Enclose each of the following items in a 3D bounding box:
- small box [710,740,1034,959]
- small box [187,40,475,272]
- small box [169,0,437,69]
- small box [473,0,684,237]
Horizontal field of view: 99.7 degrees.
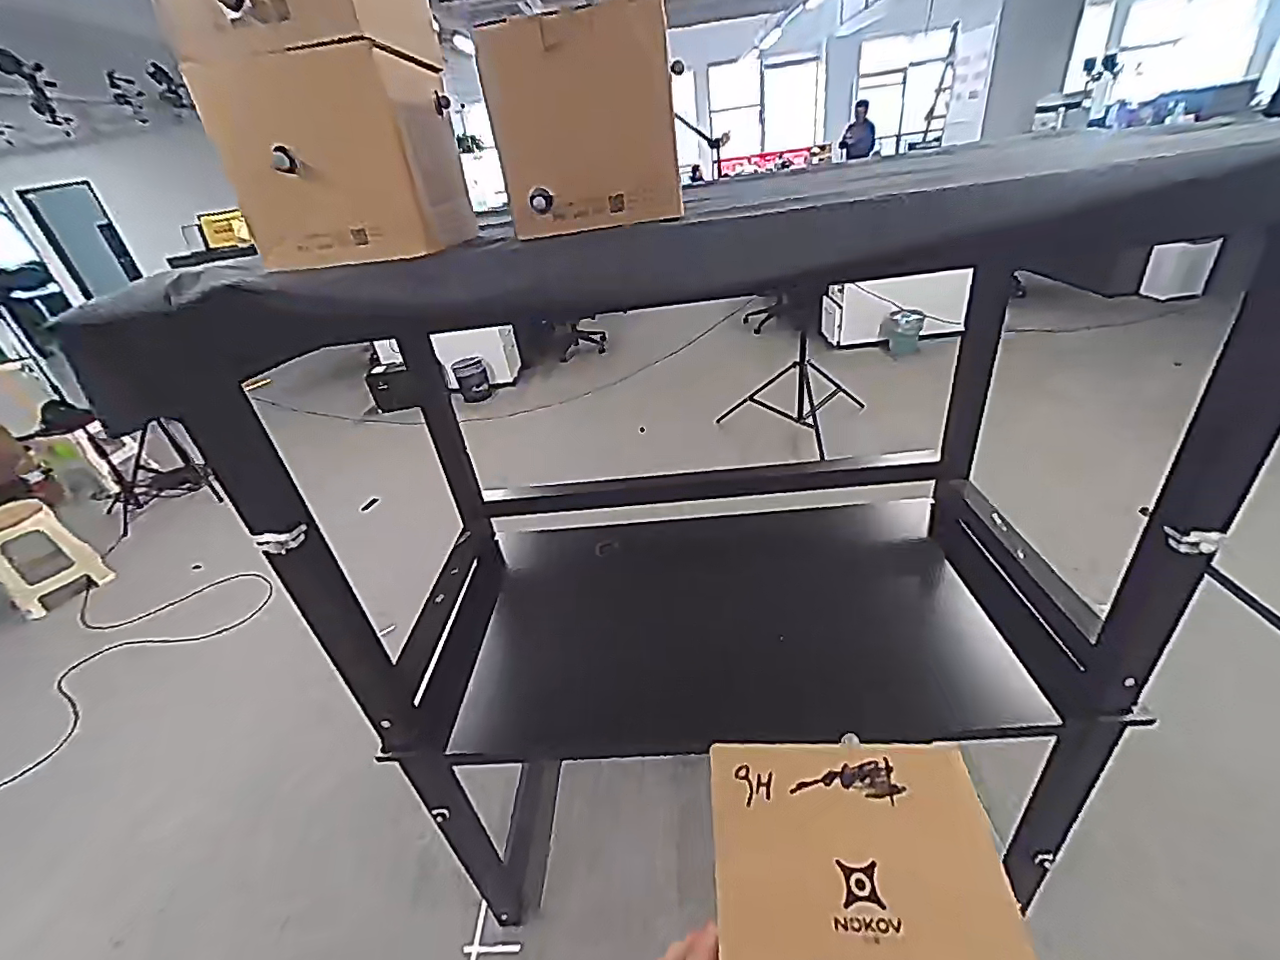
[{"bbox_3d":[0.135,0.294,0.360,0.168,0.176,0.179,-3,44,7],"label":"small box"},{"bbox_3d":[-0.285,-0.315,0.552,0.168,0.176,0.179,-4,29,4],"label":"small box"},{"bbox_3d":[-0.300,-0.457,0.473,0.168,0.176,0.179,-5,30,7],"label":"small box"},{"bbox_3d":[-0.044,-0.351,0.552,0.168,0.176,0.179,-5,28,6],"label":"small box"}]
